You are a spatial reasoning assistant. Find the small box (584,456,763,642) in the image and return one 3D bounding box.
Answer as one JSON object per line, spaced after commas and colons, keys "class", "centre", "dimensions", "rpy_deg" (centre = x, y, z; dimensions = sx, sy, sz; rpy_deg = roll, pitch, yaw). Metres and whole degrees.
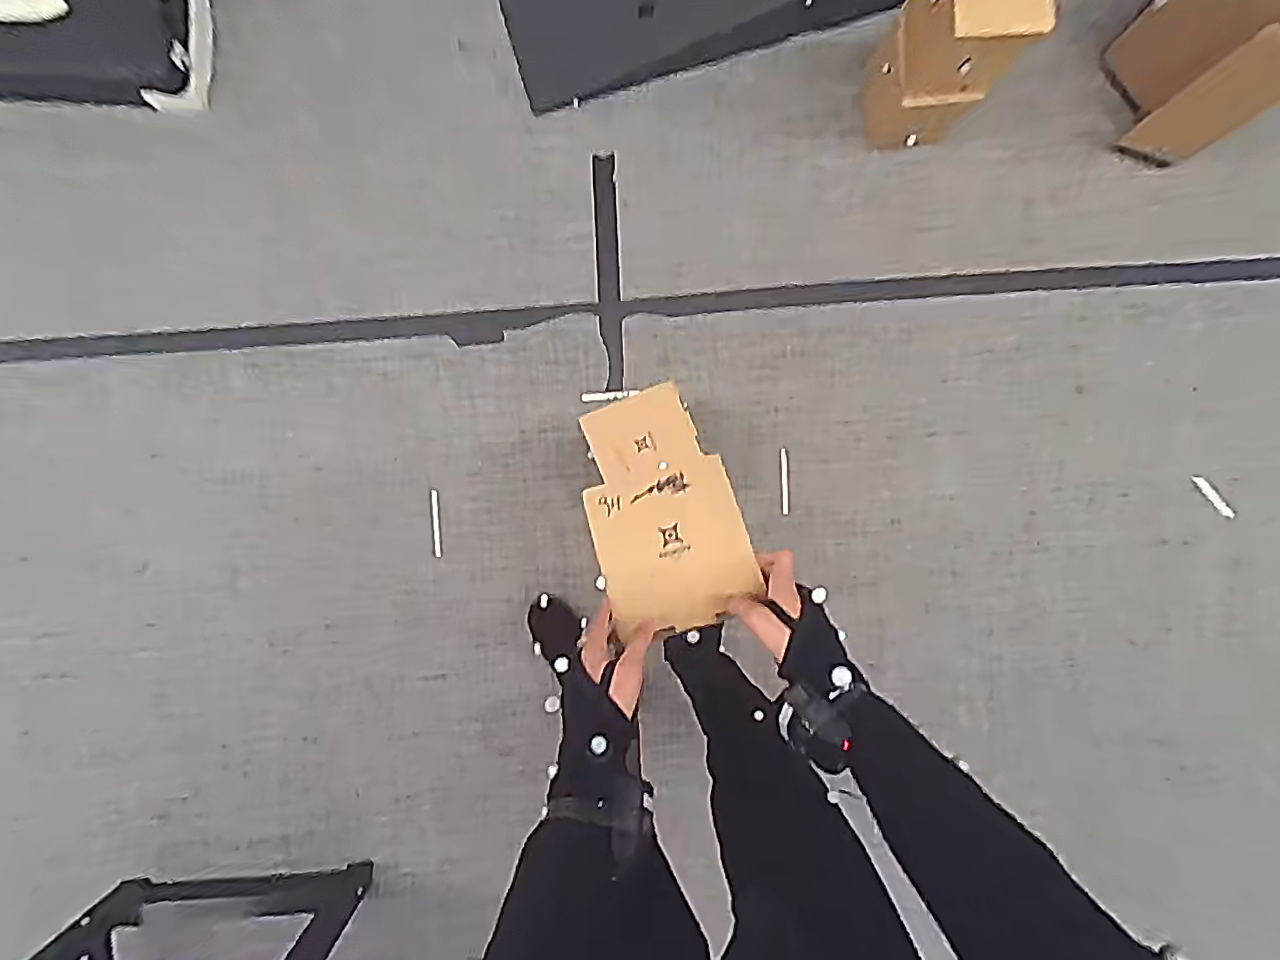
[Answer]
{"class": "small box", "centre": [0.038, 0.095, 0.675], "dimensions": [0.168, 0.176, 0.179], "rpy_deg": [-15, 72, -3]}
